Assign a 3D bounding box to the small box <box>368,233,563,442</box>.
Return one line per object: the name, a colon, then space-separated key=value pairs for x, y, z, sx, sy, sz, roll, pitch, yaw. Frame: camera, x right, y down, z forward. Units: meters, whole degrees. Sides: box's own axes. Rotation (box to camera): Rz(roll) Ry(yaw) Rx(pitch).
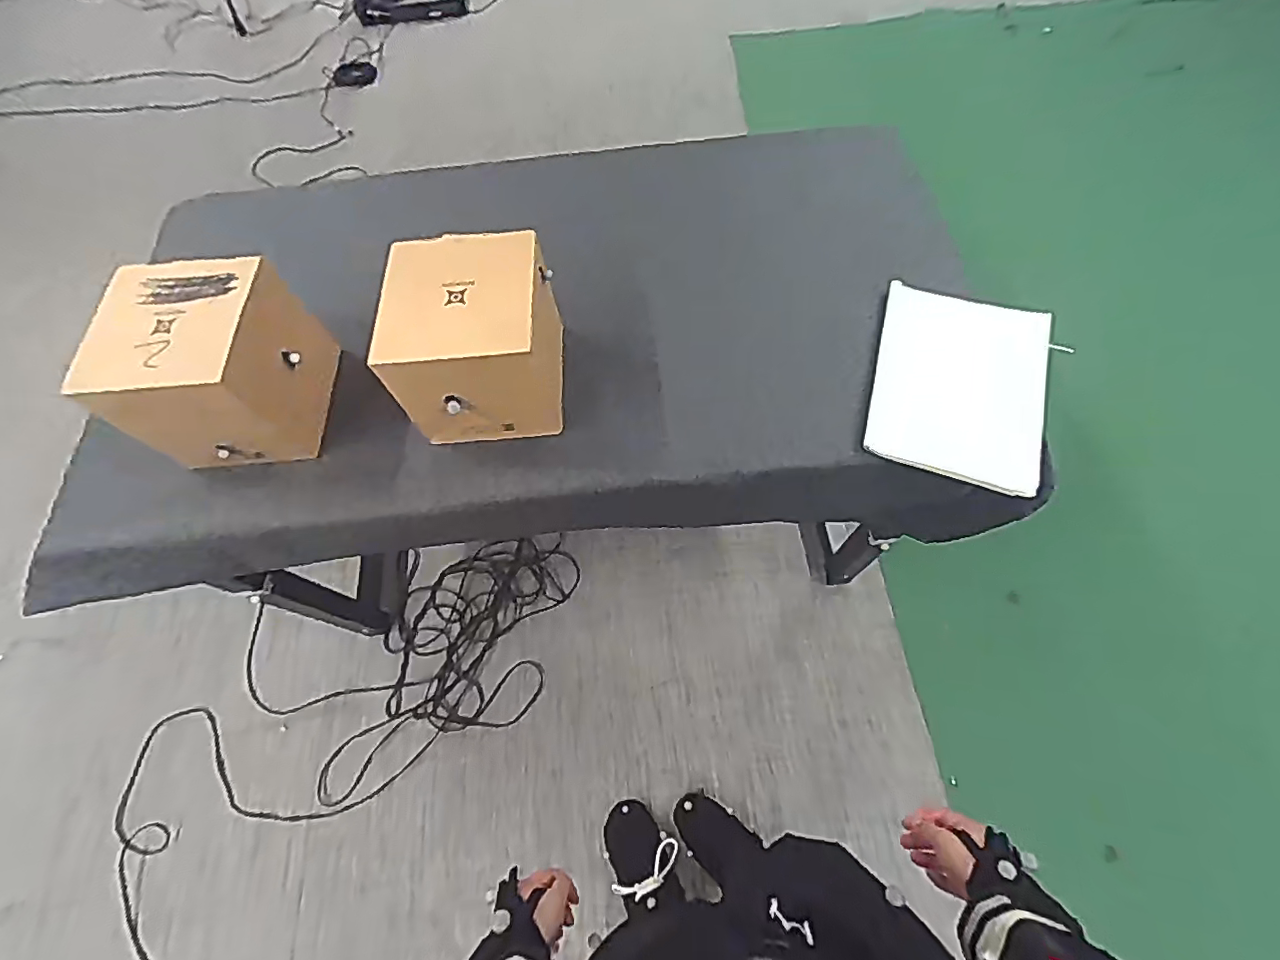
small box: x=-0.187 y=-0.155 z=0.636 sx=0.168 sy=0.176 sz=0.179 roll=-5 pitch=63 yaw=2
